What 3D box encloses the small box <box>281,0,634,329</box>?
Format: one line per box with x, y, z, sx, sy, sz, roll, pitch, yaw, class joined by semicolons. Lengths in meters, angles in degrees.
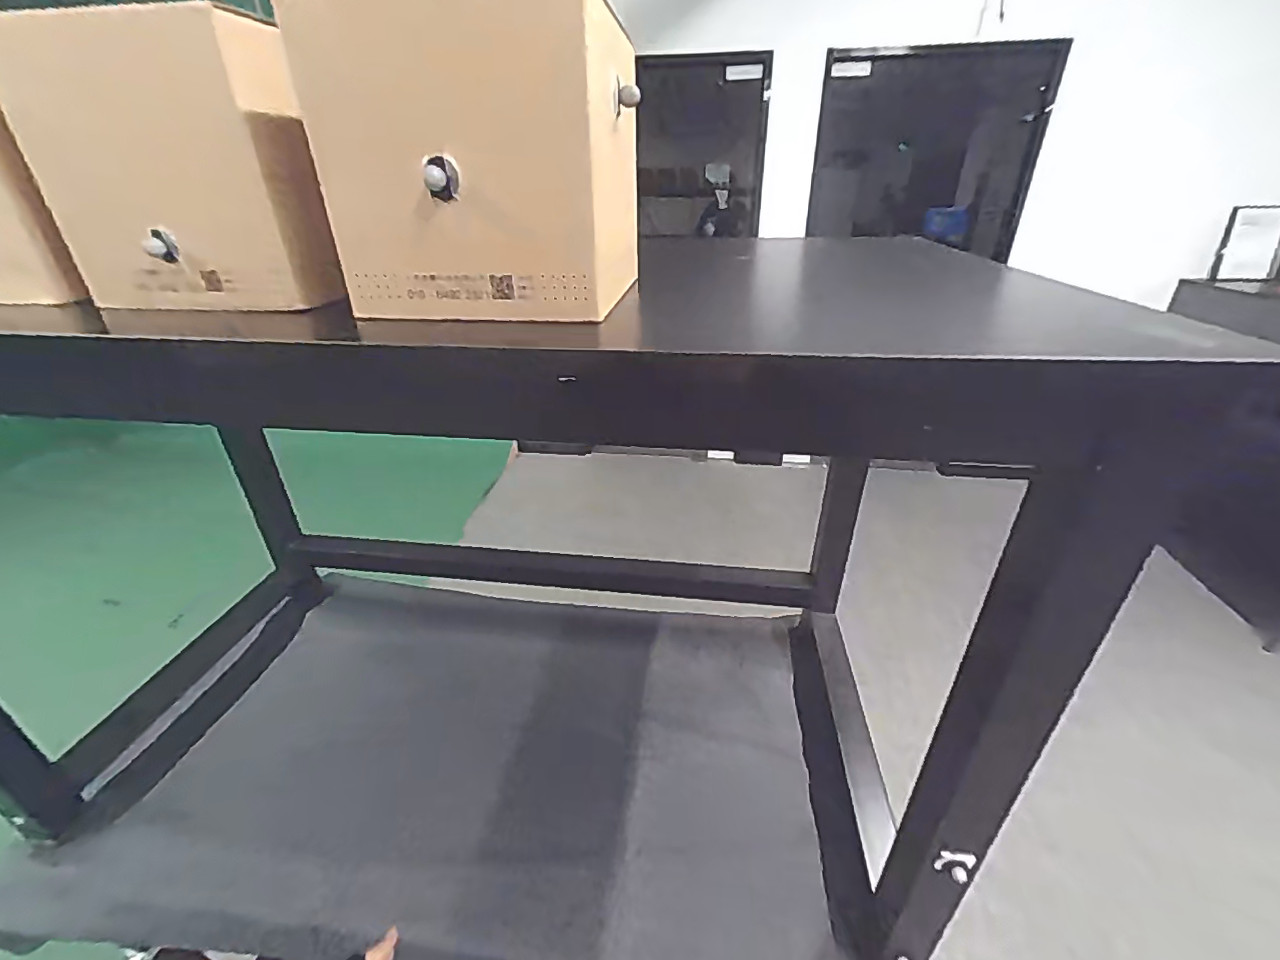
-0.096;-0.209;0.382;0.168;0.176;0.179;3;29;6;small box

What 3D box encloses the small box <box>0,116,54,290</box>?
-0.693;-0.250;0.476;0.168;0.176;0.179;3;30;6;small box
